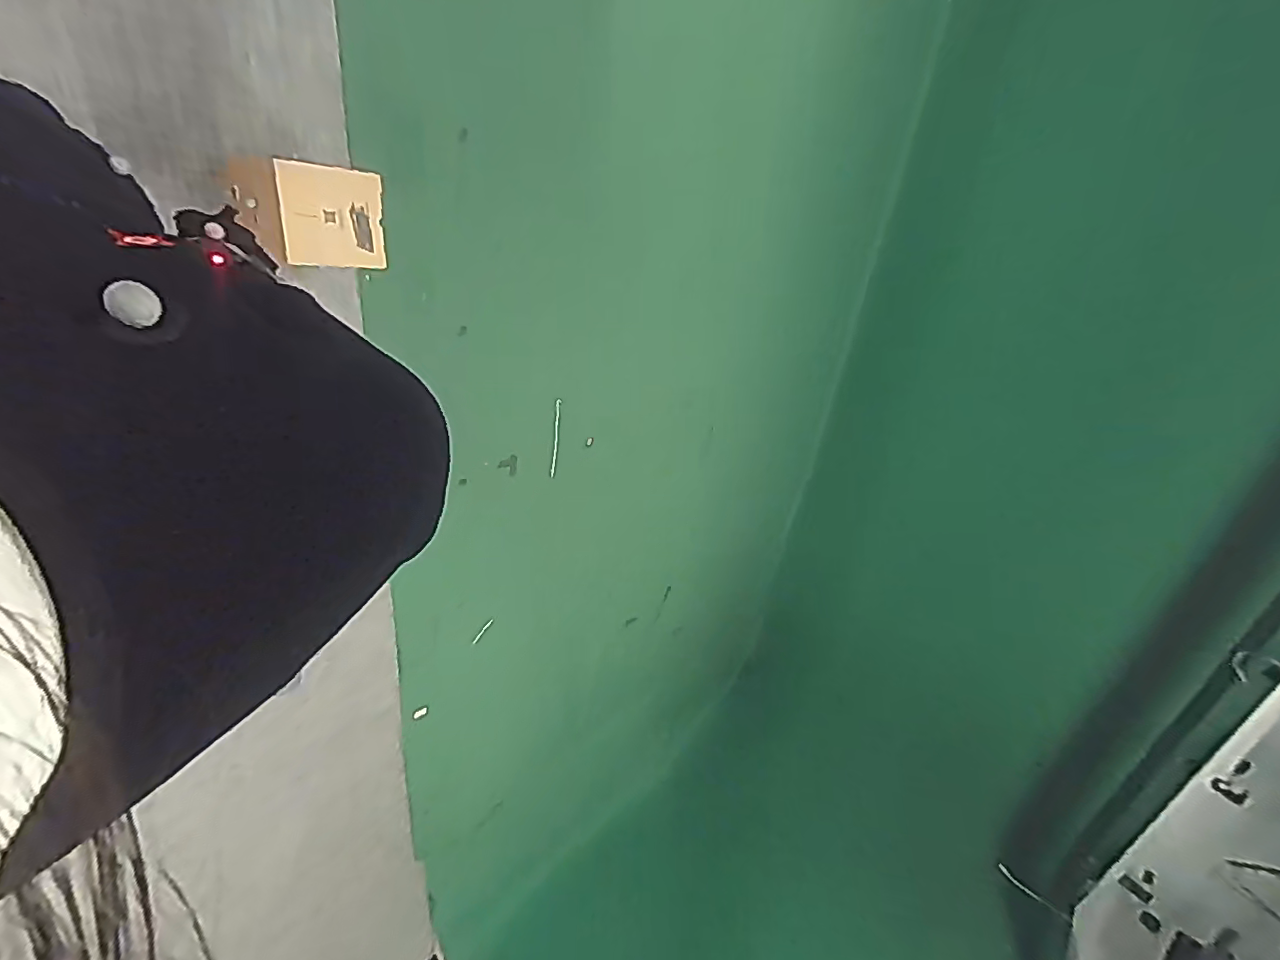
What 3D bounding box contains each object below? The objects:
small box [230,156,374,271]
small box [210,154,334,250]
[{"bbox_3d":[-0.621,-0.492,1.001,0.179,0.176,0.168,-18,125,-45],"label":"small box"},{"bbox_3d":[-0.734,-0.559,1.101,0.179,0.176,0.168,-21,127,-43],"label":"small box"}]
